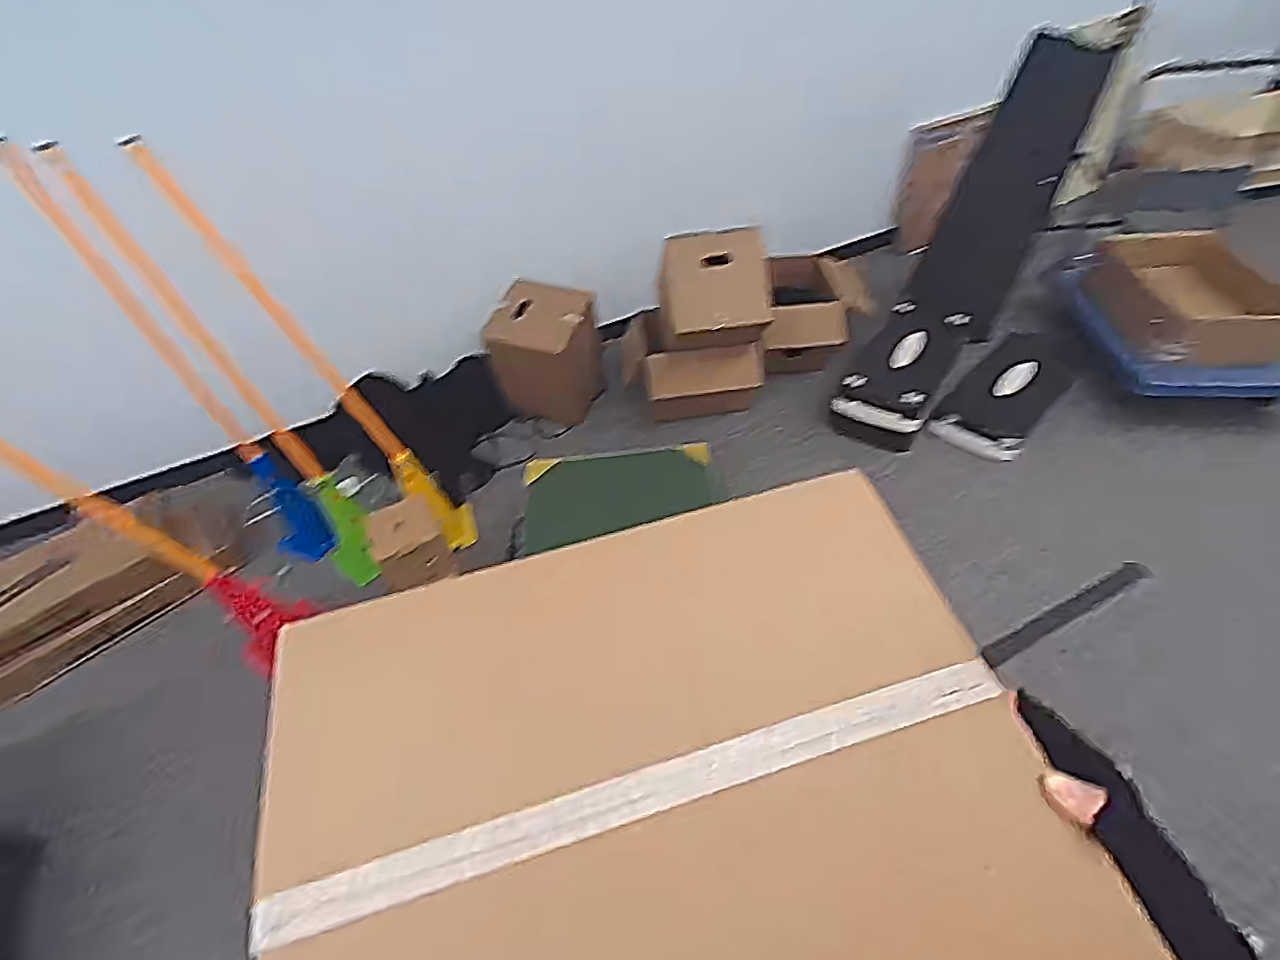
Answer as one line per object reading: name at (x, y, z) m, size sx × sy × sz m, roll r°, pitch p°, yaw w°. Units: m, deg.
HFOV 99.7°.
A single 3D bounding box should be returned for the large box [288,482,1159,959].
large box at (0.020, 0.255, 0.420) m, size 0.408 × 0.320 × 0.320 m, roll -15°, pitch 57°, yaw -6°
